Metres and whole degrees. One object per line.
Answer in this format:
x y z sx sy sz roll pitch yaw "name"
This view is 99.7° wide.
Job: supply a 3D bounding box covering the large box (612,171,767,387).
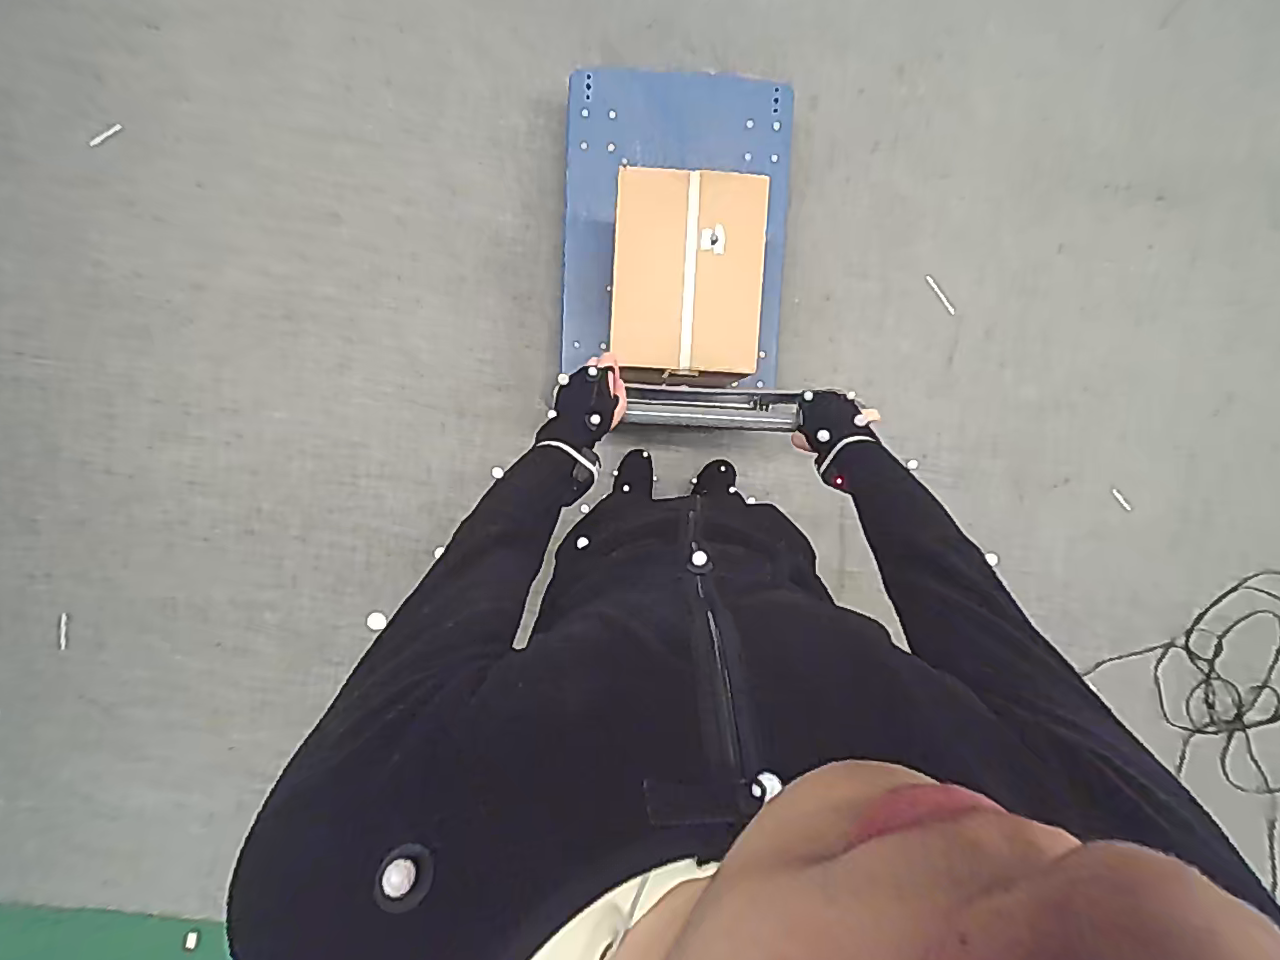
0.100 -0.435 1.263 0.320 0.320 0.408 2 94 -2 "large box"
